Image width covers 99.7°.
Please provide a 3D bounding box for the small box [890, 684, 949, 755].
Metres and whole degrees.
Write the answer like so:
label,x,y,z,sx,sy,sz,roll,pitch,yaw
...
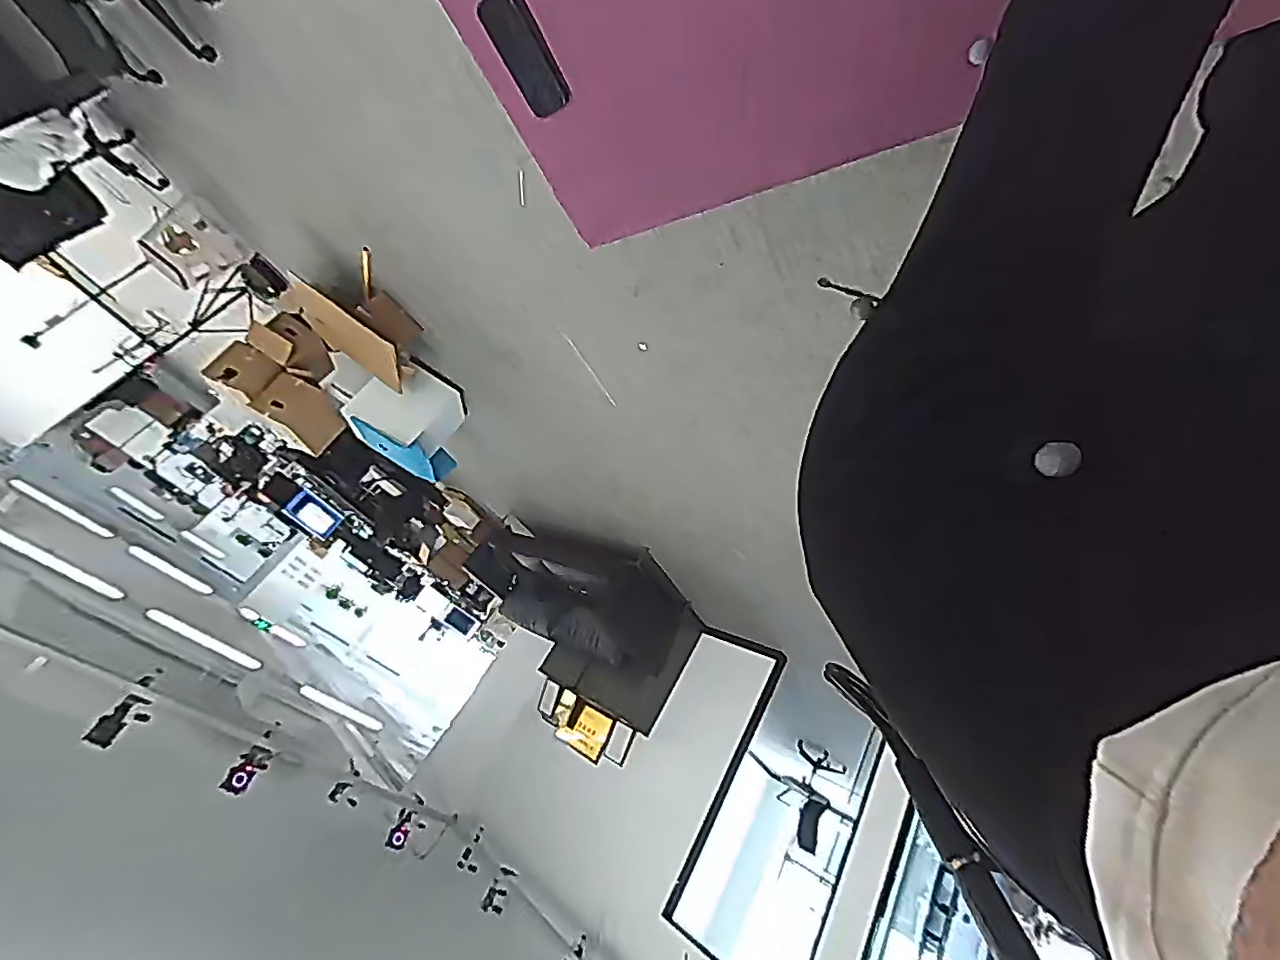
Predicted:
label,x,y,z,sx,sy,sz,roll,pitch,yaw
small box,1.076,0.914,2.080,0.168,0.176,0.179,13,148,39
